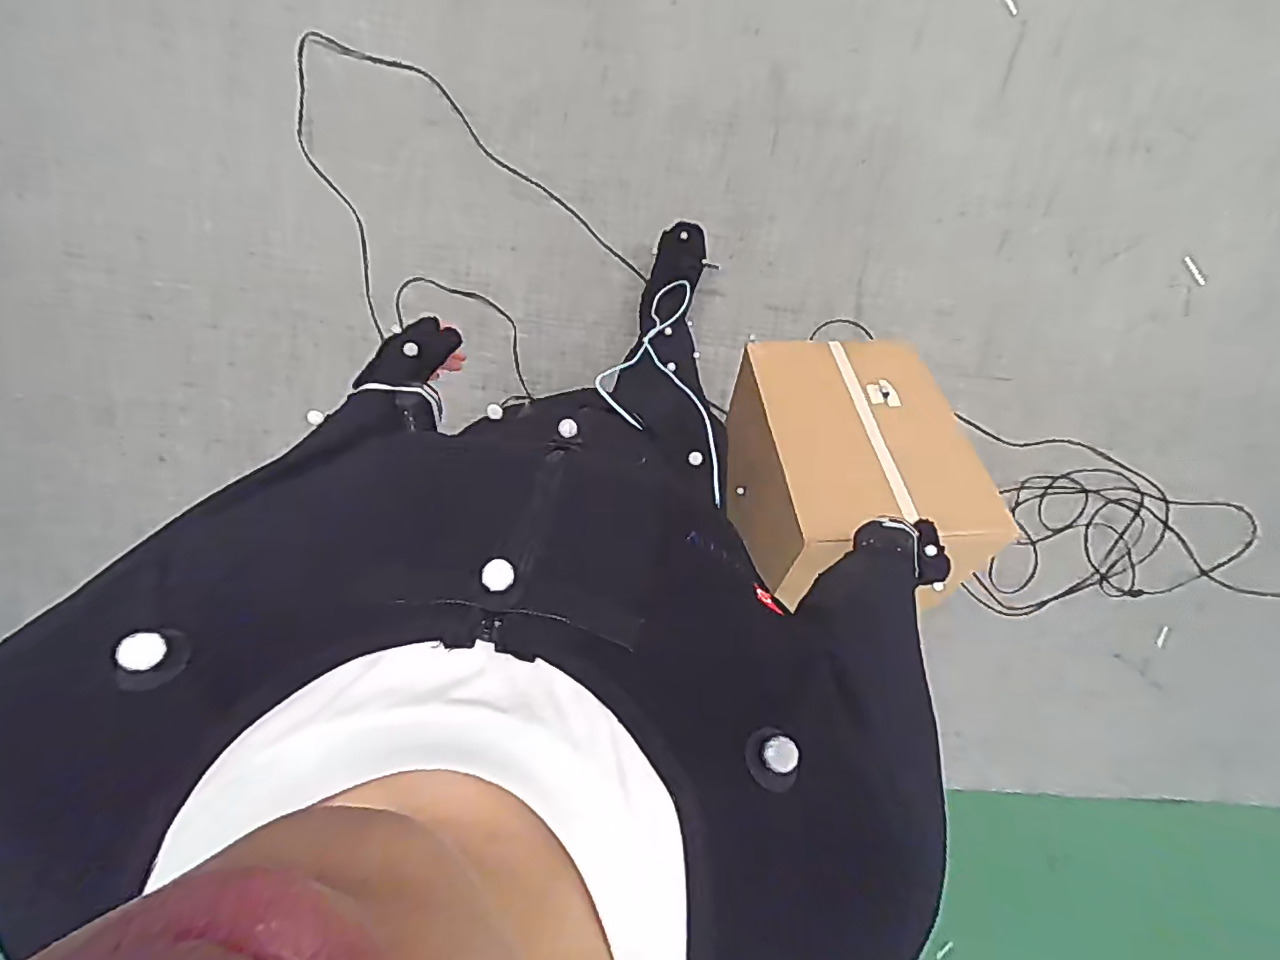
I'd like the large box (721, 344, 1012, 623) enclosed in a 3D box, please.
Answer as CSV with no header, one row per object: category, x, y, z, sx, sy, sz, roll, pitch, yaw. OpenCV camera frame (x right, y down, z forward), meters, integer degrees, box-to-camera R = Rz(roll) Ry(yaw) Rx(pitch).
large box,0.352,0.006,0.981,0.320,0.408,0.320,-1,143,-6
